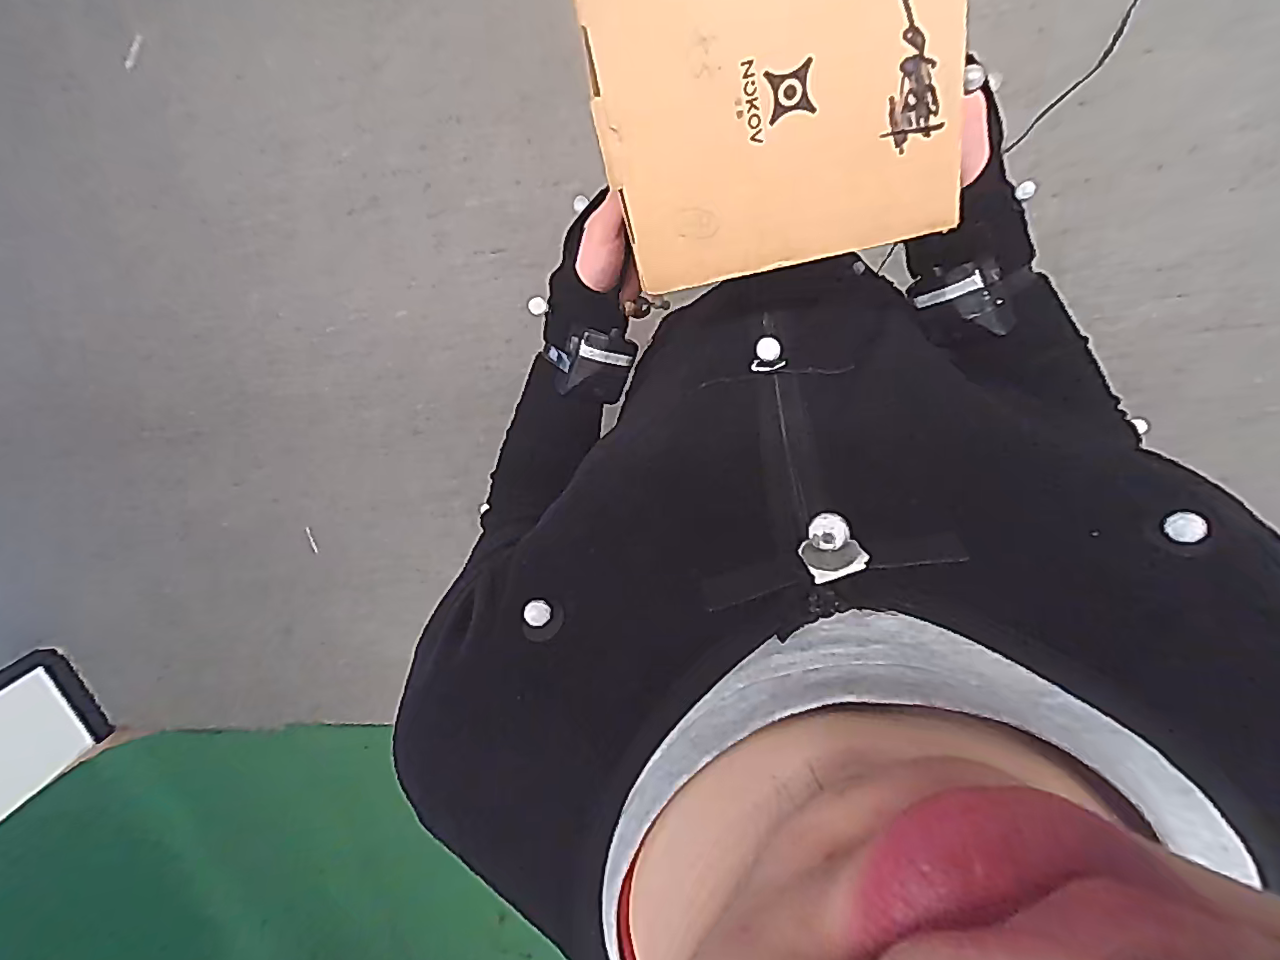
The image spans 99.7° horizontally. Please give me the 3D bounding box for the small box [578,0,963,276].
[{"bbox_3d":[0.079,-0.241,0.336,0.179,0.176,0.168,-6,120,16],"label":"small box"}]
